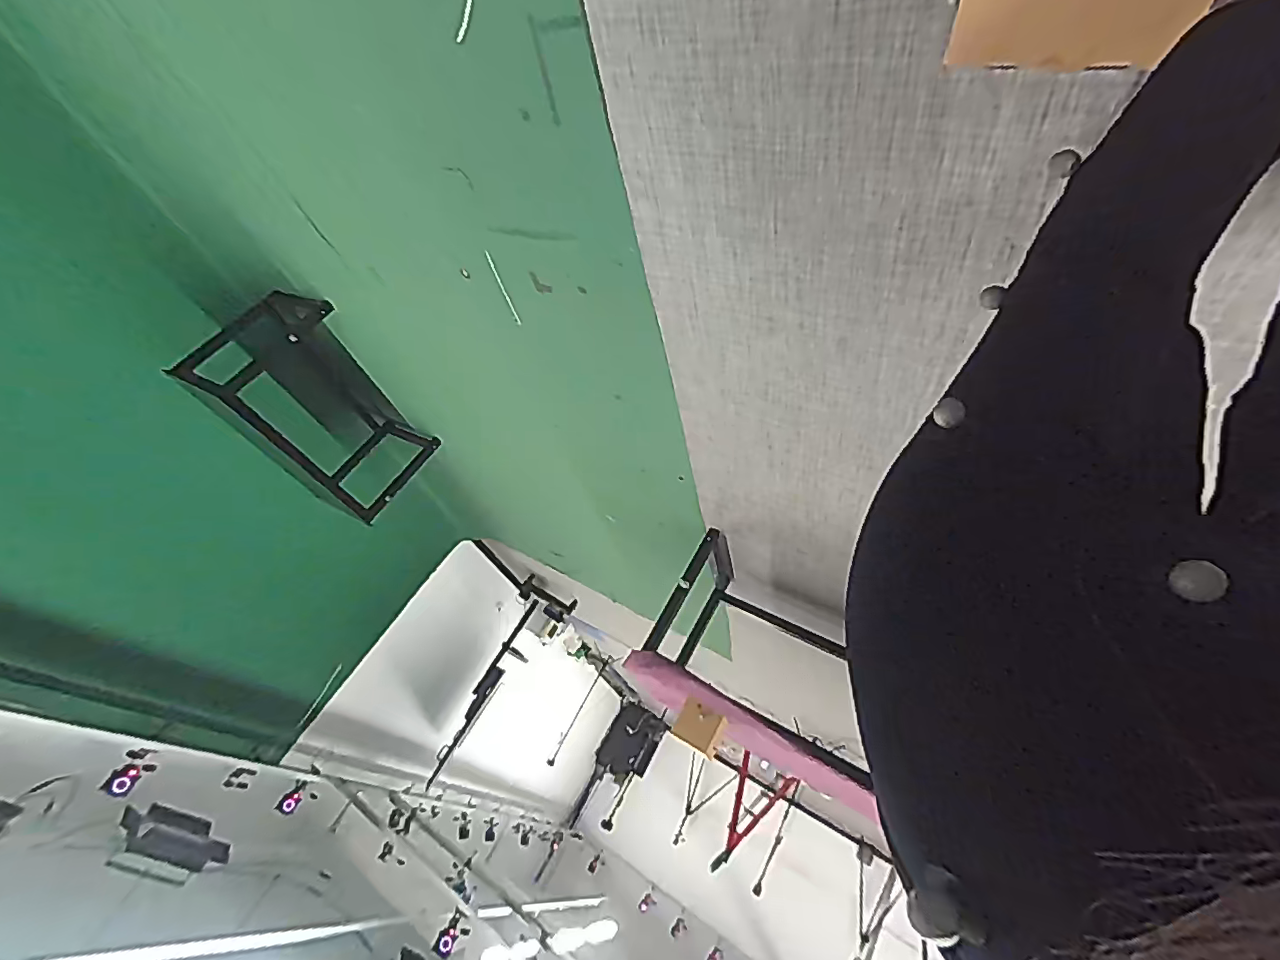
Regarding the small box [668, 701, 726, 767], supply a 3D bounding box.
[{"bbox_3d":[0.235,1.020,2.176,0.168,0.176,0.179,20,151,26],"label":"small box"}]
